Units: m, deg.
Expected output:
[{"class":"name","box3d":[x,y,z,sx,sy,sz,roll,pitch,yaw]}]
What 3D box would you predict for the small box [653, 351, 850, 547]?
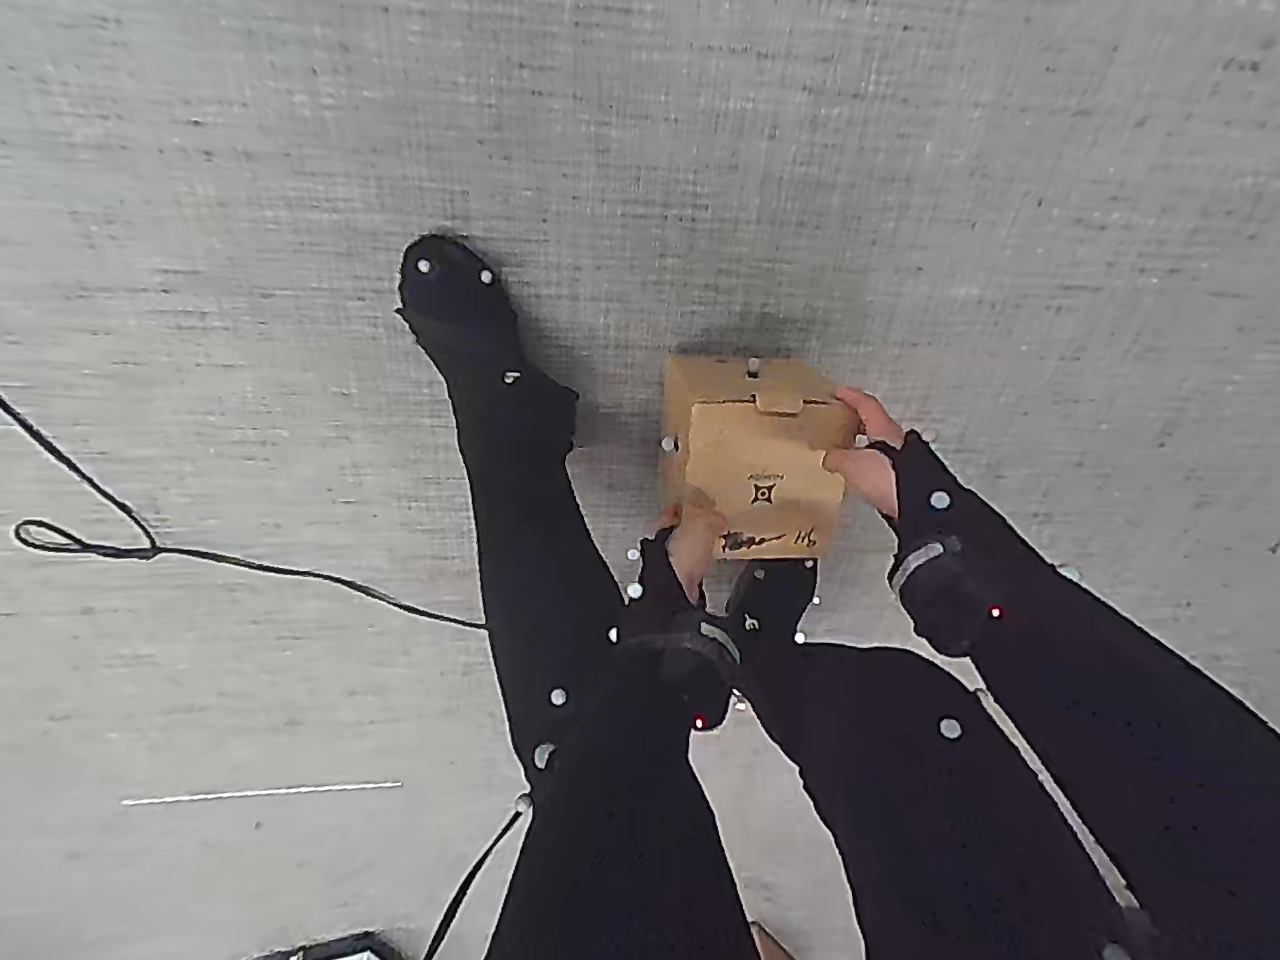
[{"class":"small box","box3d":[0.107,-0.043,0.606,0.168,0.176,0.179,0,116,-6]}]
